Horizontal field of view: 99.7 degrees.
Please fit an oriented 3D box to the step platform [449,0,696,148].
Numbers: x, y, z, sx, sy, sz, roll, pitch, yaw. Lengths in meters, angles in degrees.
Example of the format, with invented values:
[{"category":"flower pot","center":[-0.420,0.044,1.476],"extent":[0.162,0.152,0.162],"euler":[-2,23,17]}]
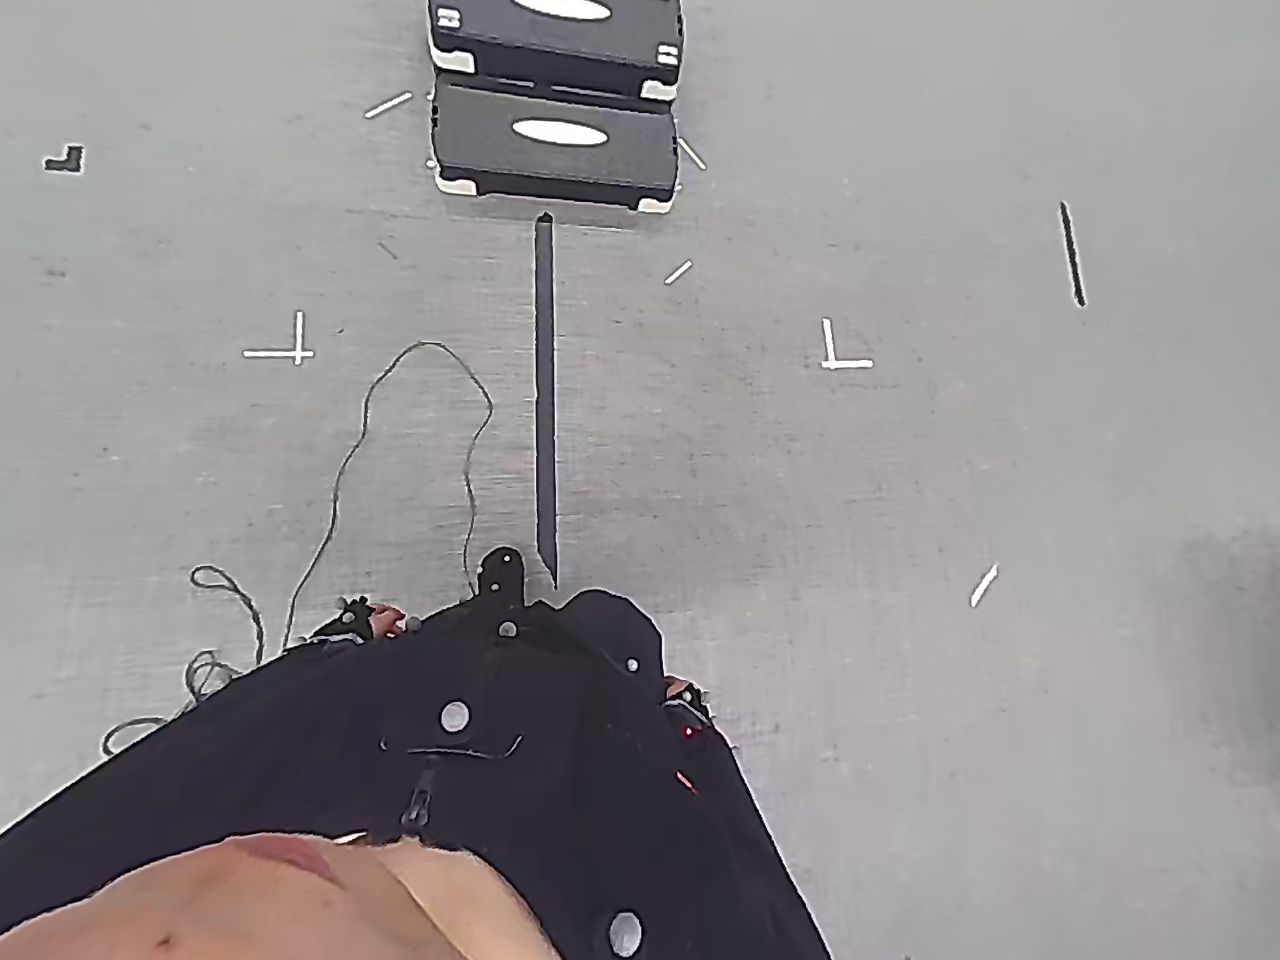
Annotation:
[{"category":"step platform","center":[-0.184,-1.189,1.536],"extent":[0.684,0.204,0.286],"euler":[4,80,-12]}]
